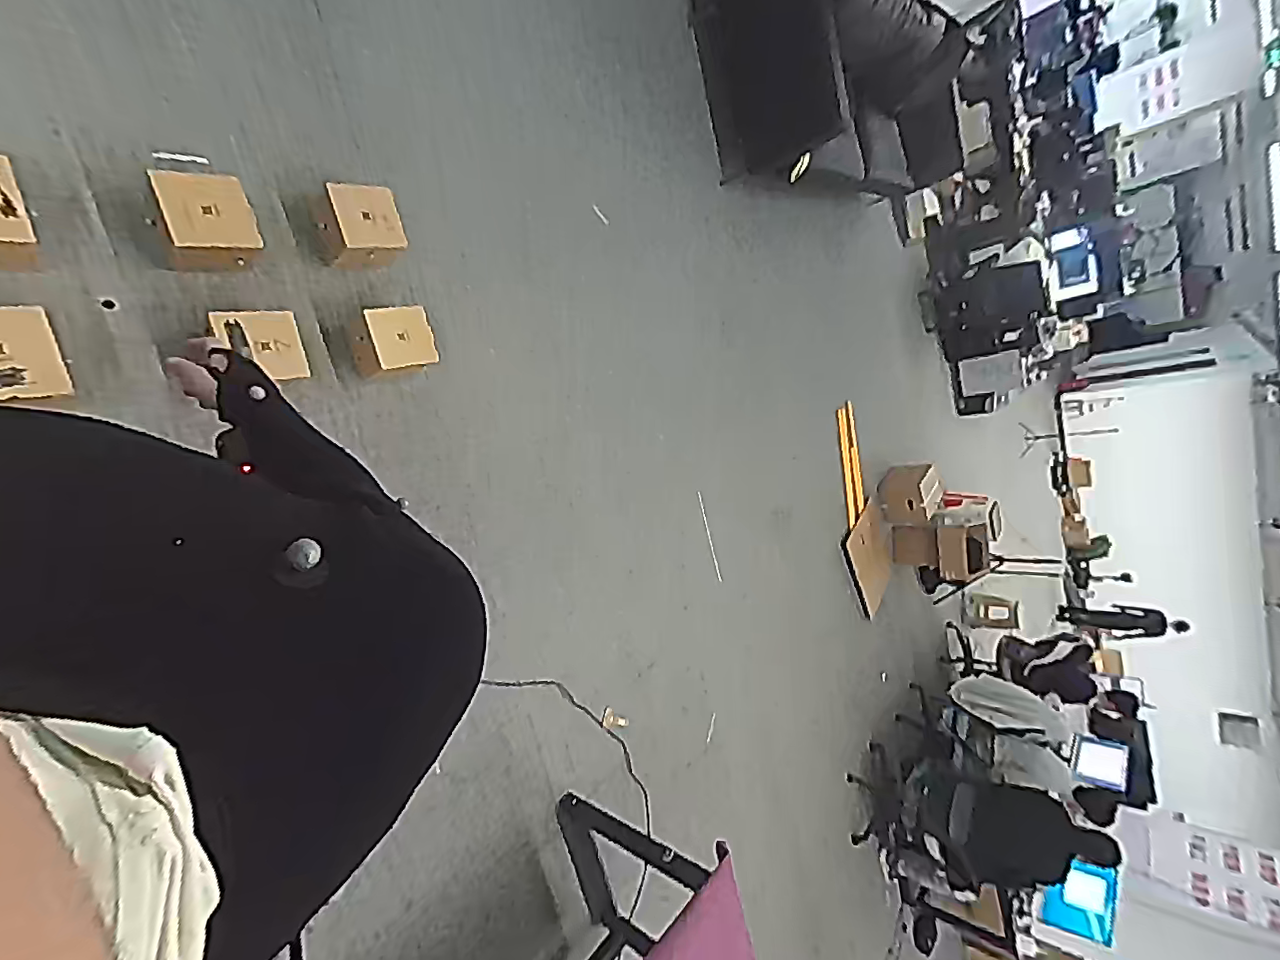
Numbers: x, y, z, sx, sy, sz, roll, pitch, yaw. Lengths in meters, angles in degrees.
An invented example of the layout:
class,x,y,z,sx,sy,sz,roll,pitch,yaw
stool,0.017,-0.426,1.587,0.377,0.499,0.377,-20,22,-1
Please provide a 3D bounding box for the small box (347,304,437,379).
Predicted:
class,x,y,z,sx,sy,sz,roll,pitch,yaw
small box,-0.728,-0.401,1.575,0.179,0.176,0.168,-24,103,-44

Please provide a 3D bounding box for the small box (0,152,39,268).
class,x,y,z,sx,sy,sz,roll,pitch,yaw
small box,-1.291,-0.512,1.019,0.179,0.176,0.168,-18,99,-44

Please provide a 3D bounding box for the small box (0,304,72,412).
class,x,y,z,sx,sy,sz,roll,pitch,yaw
small box,-1.240,-0.228,1.043,0.168,0.176,0.179,-20,100,-44

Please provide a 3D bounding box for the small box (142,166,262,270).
class,x,y,z,sx,sy,sz,roll,pitch,yaw
small box,-1.038,-0.610,1.281,0.179,0.176,0.168,-22,101,-43

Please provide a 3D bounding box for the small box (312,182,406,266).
class,x,y,z,sx,sy,sz,roll,pitch,yaw
small box,-0.799,-0.715,1.526,0.179,0.176,0.168,-24,104,-44
